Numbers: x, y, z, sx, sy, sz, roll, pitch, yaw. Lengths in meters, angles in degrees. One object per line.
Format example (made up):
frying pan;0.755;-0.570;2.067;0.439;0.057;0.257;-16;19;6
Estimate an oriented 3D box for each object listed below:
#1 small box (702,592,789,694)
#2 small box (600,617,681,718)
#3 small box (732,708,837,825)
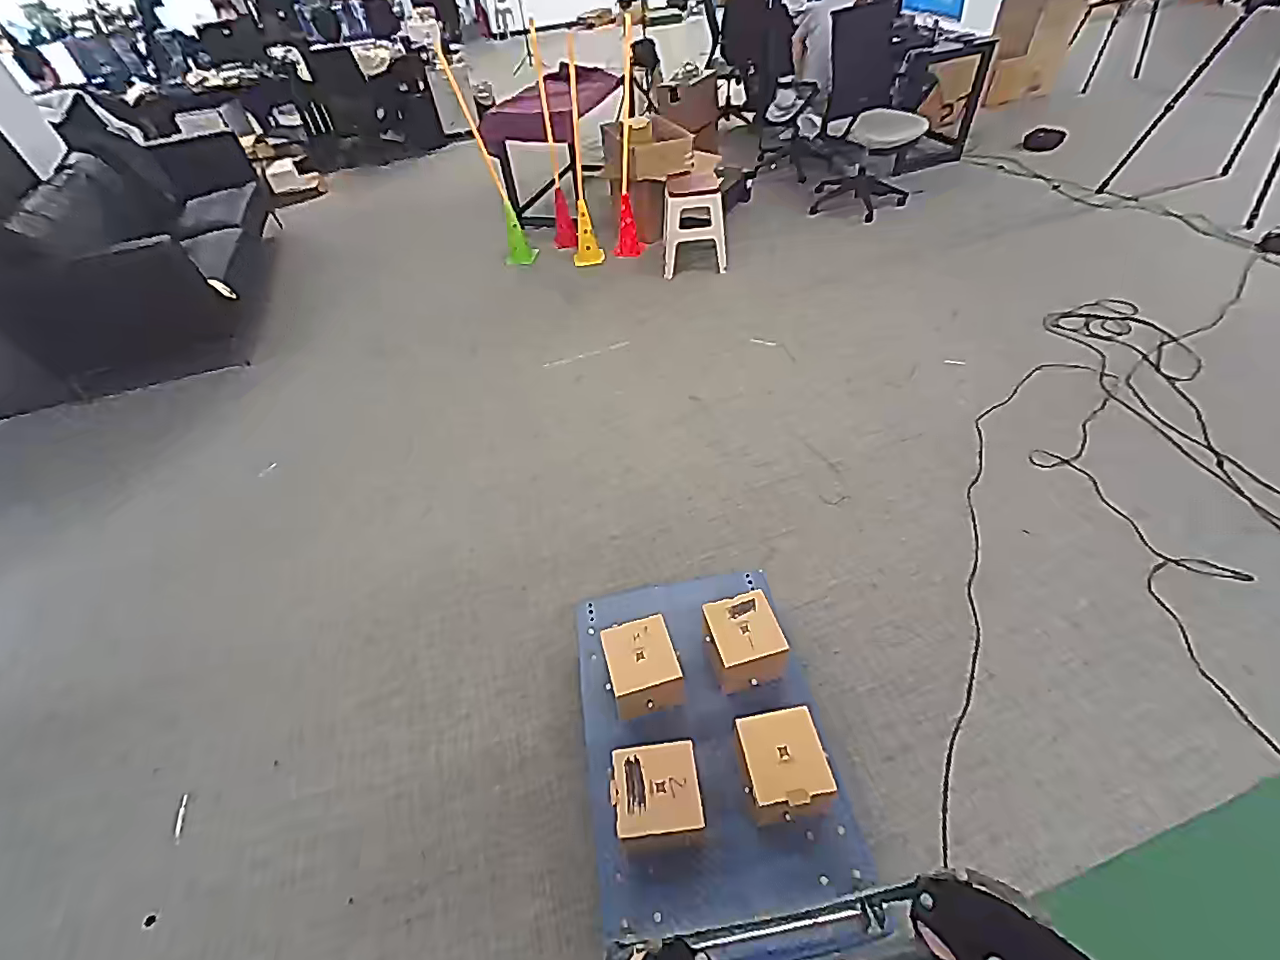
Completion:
small box;0.262;0.421;1.395;0.168;0.176;0.179;-14;48;-6
small box;0.004;0.479;1.366;0.168;0.176;0.179;-14;47;-8
small box;0.307;0.633;1.194;0.168;0.176;0.179;-10;48;-4
